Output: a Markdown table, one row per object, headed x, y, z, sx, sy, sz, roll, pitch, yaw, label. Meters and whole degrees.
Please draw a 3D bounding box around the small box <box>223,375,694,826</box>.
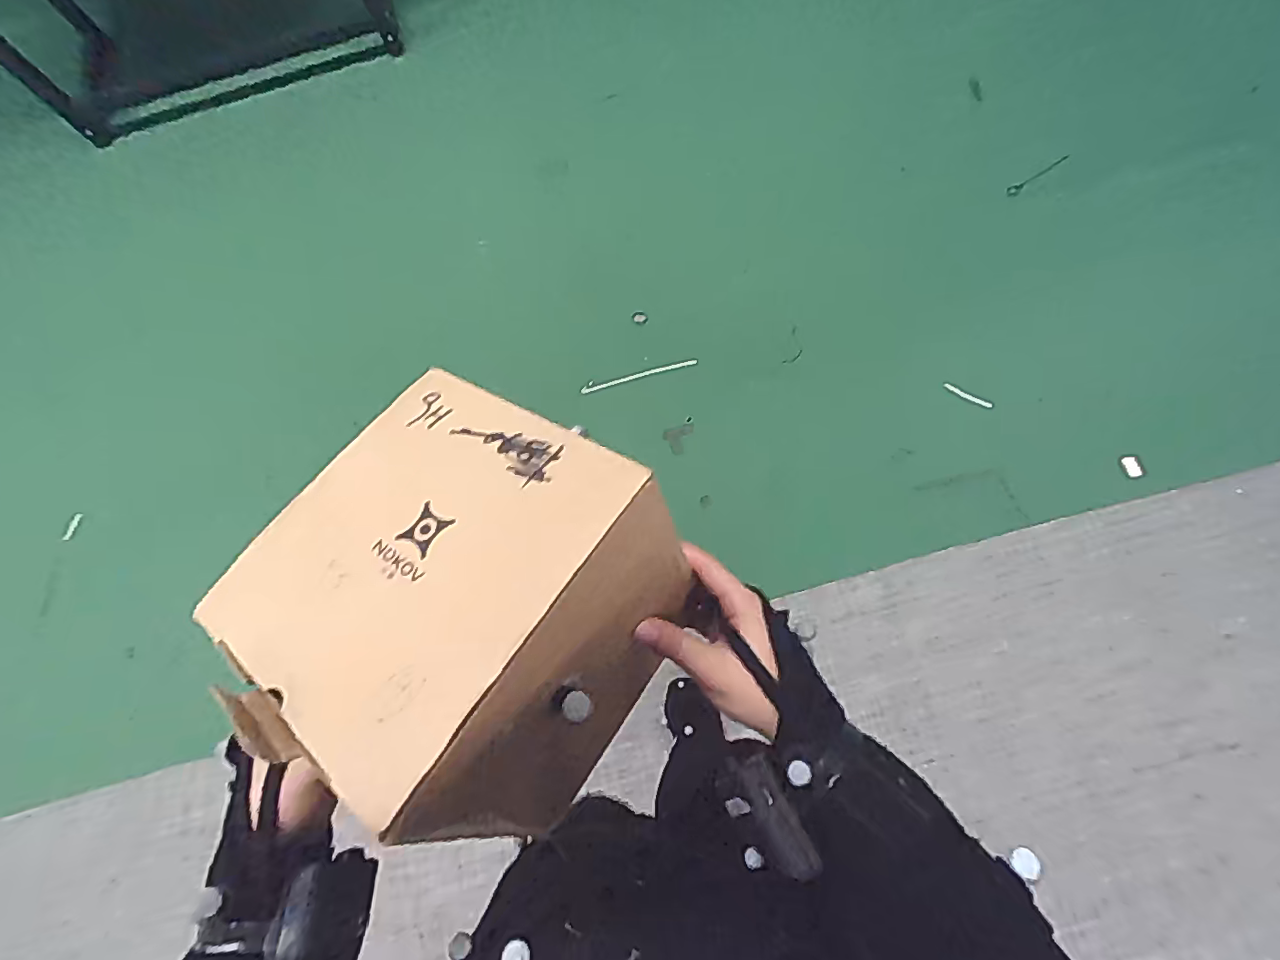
| x | y | z | sx | sy | sz | roll | pitch | yaw | label |
| --- | --- | --- | --- | --- | --- | --- | --- | --- | --- |
| -0.083 | 0.074 | 0.329 | 0.168 | 0.176 | 0.179 | 27 | 69 | 28 | small box |
